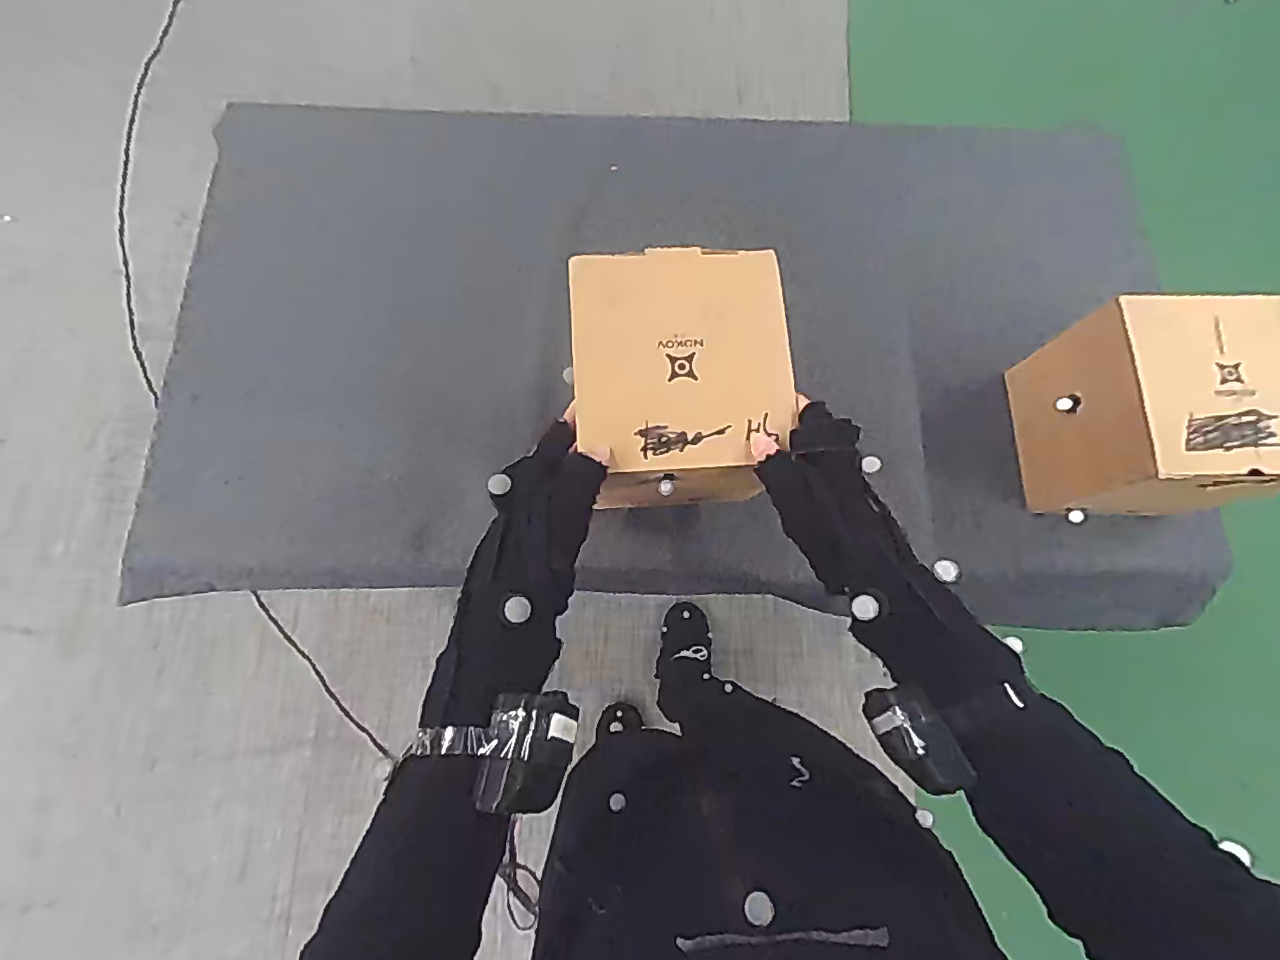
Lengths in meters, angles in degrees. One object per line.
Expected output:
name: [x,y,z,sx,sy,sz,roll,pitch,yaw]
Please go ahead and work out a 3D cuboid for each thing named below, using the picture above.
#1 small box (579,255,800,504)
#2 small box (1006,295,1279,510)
small box: [0.032,-0.079,0.496,0.168,0.176,0.179,-3,79,-2]
small box: [0.519,-0.067,0.557,0.168,0.176,0.179,1,75,1]
